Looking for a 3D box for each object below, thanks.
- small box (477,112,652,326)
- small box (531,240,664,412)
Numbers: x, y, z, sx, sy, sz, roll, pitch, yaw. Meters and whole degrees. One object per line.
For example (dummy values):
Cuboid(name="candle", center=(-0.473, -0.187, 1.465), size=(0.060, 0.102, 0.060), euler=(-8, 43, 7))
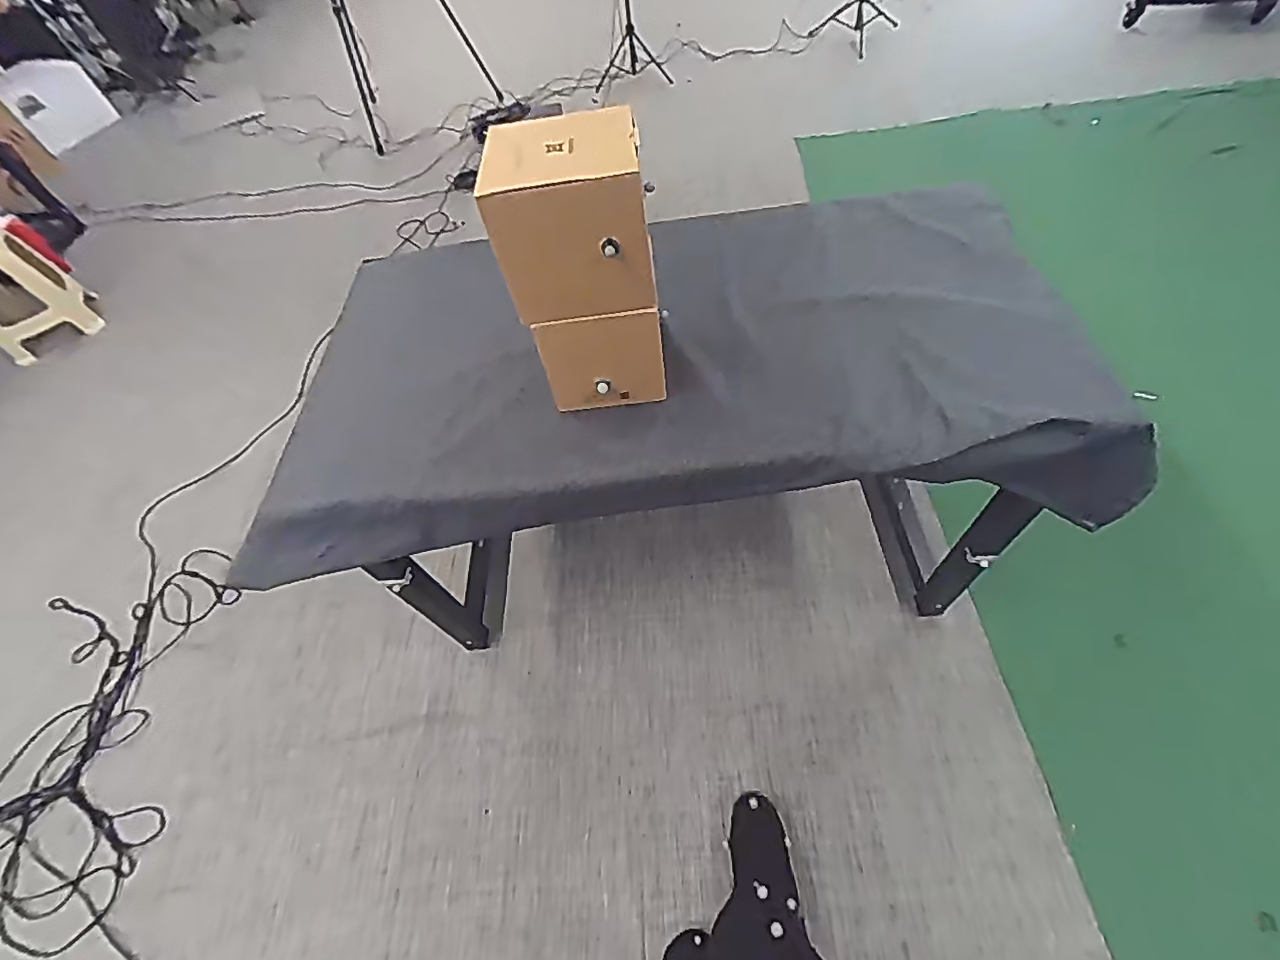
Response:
Cuboid(name="small box", center=(-0.080, -0.315, 0.668), size=(0.179, 0.176, 0.168), euler=(-8, 54, 4))
Cuboid(name="small box", center=(-0.055, -0.225, 0.801), size=(0.168, 0.176, 0.179), euler=(-6, 56, 4))
